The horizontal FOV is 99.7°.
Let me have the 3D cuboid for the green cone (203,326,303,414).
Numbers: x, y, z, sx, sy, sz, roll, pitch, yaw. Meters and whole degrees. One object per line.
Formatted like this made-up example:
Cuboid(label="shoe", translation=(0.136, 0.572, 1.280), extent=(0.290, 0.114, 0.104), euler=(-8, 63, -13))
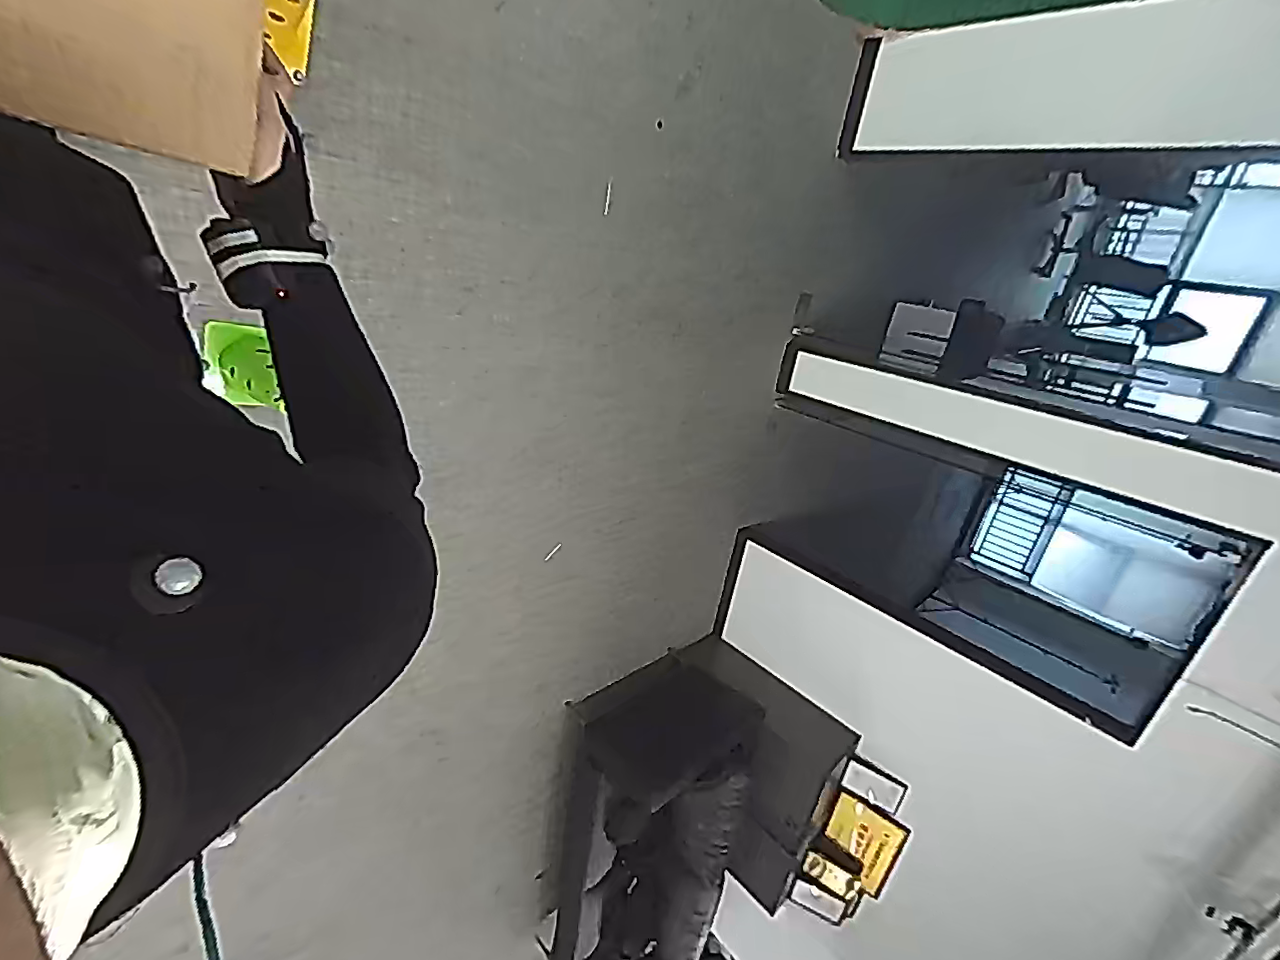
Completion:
Cuboid(label="green cone", translation=(-0.851, -0.215, 1.249), extent=(0.200, 0.368, 0.202), euler=(-5, 114, -47))
